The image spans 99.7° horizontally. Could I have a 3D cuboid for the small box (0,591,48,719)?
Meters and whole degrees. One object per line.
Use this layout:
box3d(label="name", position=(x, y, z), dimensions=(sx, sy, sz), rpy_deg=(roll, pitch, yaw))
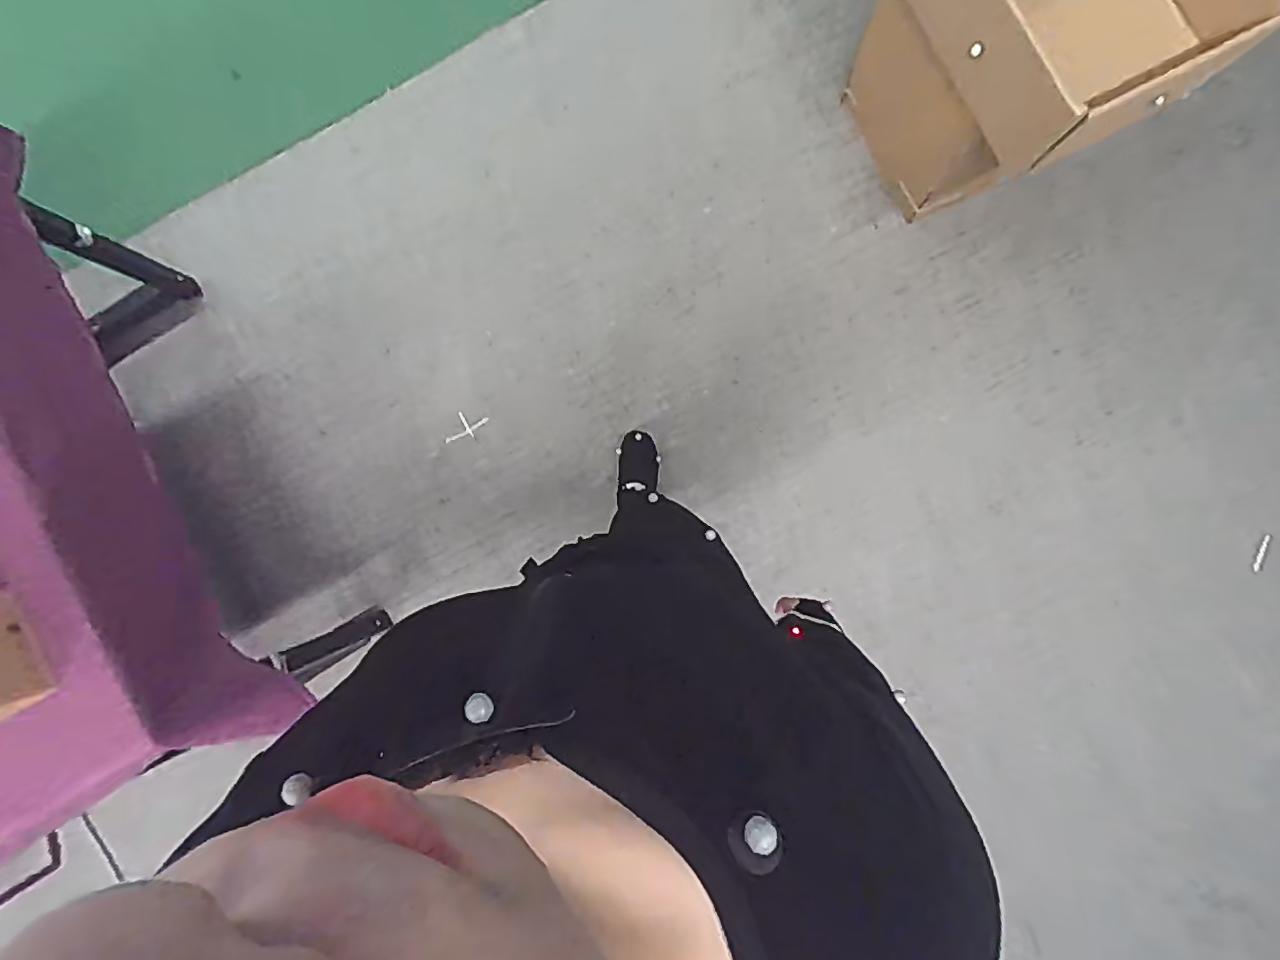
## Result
box3d(label="small box", position=(-0.959, 0.265, 0.717), dimensions=(0.179, 0.176, 0.168), rpy_deg=(-29, 86, 2))
